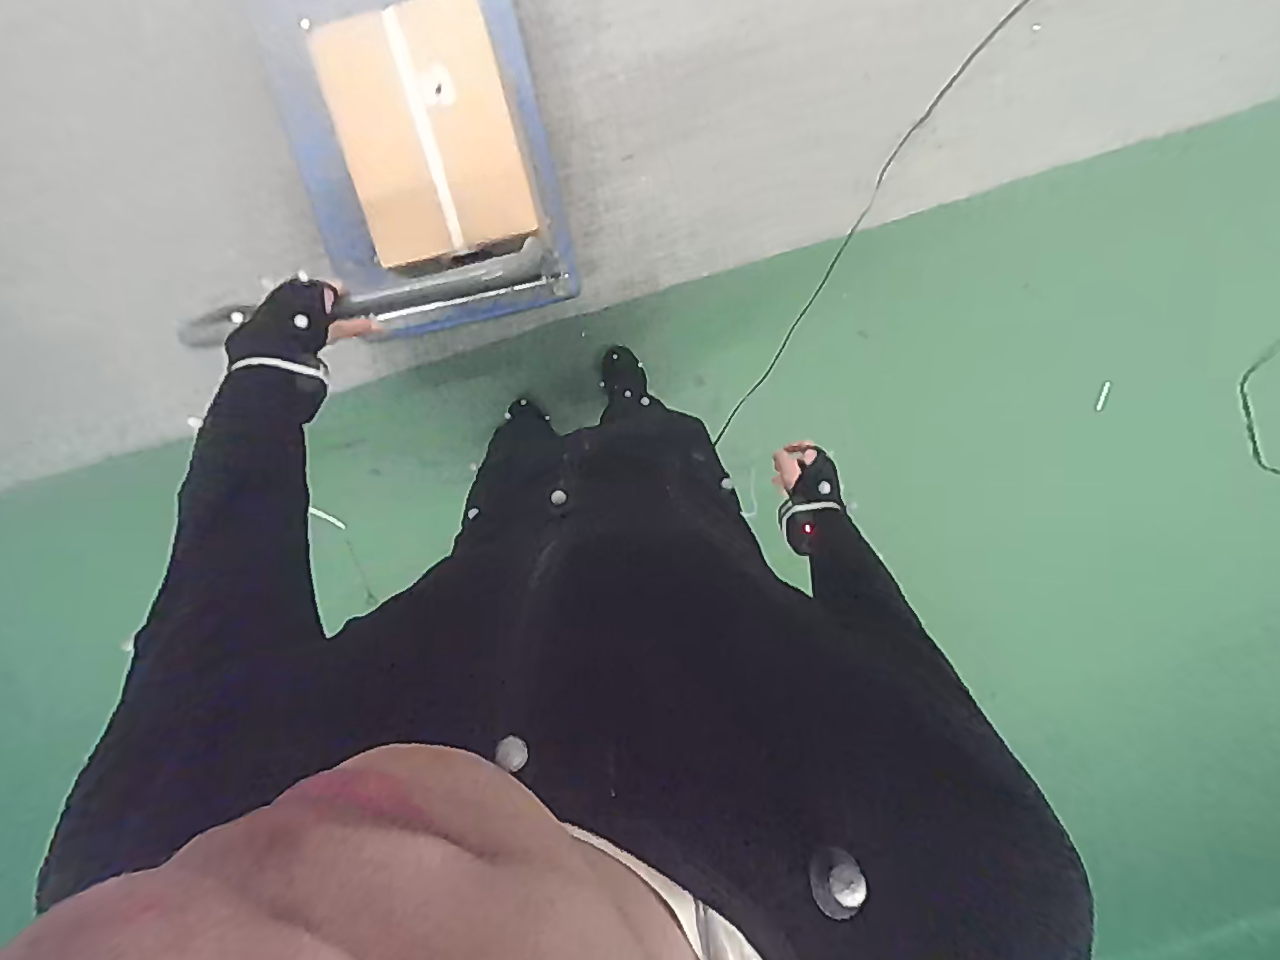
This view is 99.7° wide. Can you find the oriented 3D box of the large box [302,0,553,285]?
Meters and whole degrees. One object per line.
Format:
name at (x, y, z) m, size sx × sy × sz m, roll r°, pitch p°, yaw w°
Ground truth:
large box at (-0.398, -0.664, 1.126) m, size 0.320 × 0.320 × 0.408 m, roll -14°, pitch 104°, yaw 0°
